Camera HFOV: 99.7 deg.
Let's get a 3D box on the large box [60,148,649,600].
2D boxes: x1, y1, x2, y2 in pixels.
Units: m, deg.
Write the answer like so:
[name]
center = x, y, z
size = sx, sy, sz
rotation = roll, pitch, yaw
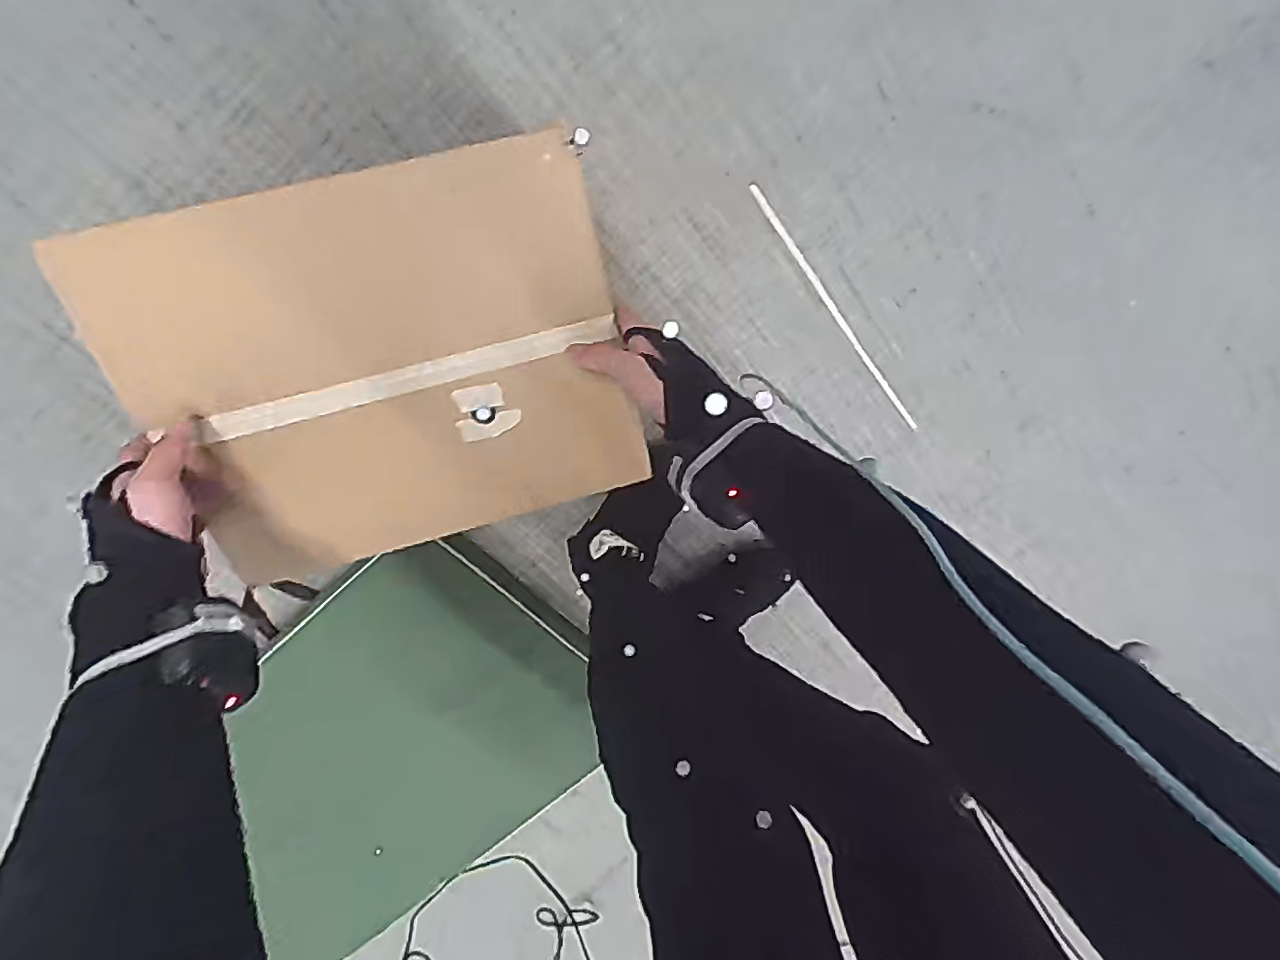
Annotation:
[large box]
center = -0.242, -0.127, 0.612
size = 0.408, 0.320, 0.320
rotation = -16, 114, -6
